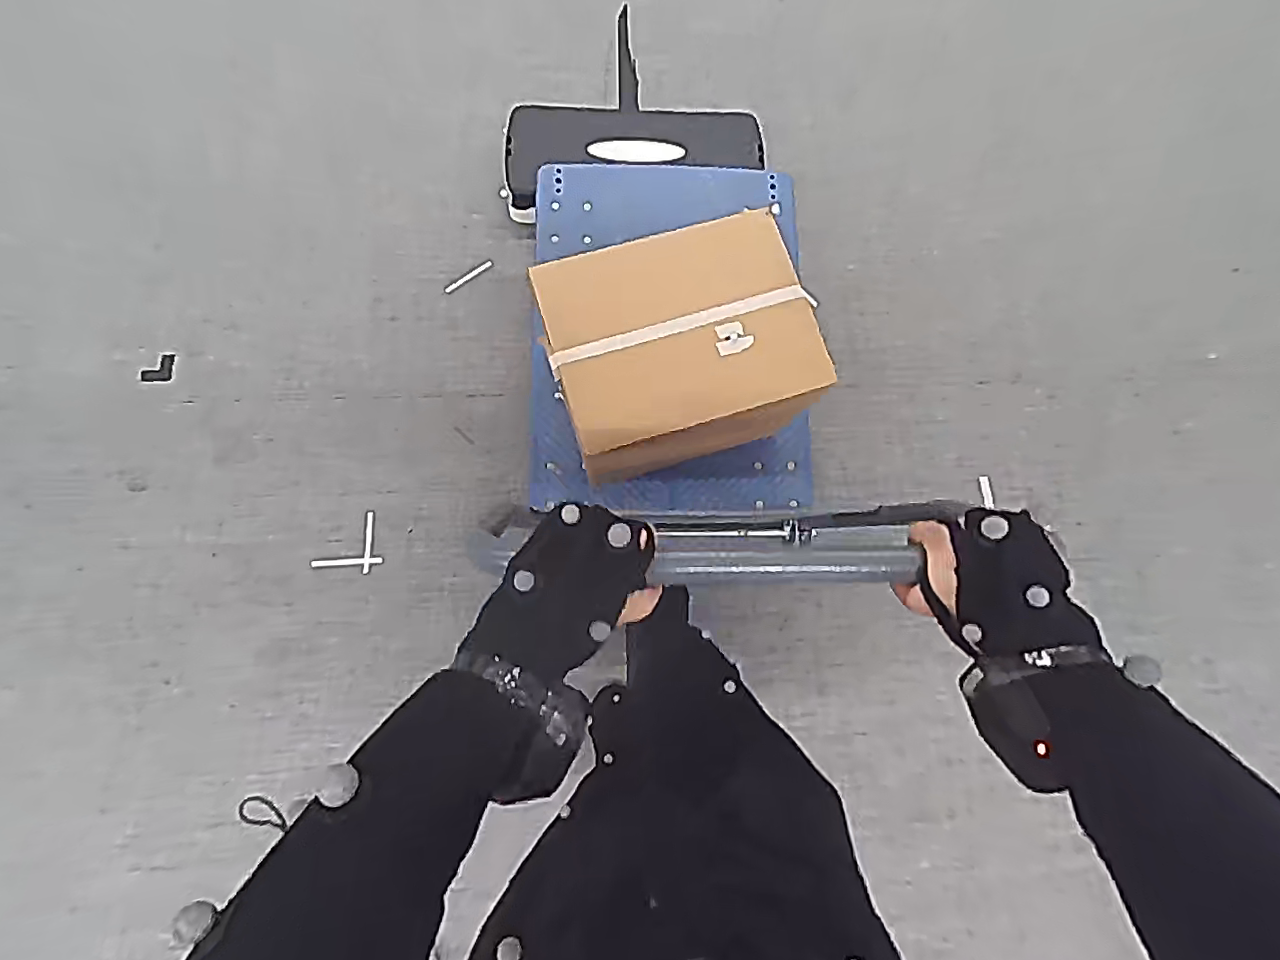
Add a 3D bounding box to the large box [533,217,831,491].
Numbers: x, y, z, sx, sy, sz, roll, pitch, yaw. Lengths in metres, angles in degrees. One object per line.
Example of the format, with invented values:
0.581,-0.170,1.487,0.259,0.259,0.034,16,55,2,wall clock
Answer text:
0.054,-0.202,0.983,0.408,0.320,0.320,-17,82,-7,large box
